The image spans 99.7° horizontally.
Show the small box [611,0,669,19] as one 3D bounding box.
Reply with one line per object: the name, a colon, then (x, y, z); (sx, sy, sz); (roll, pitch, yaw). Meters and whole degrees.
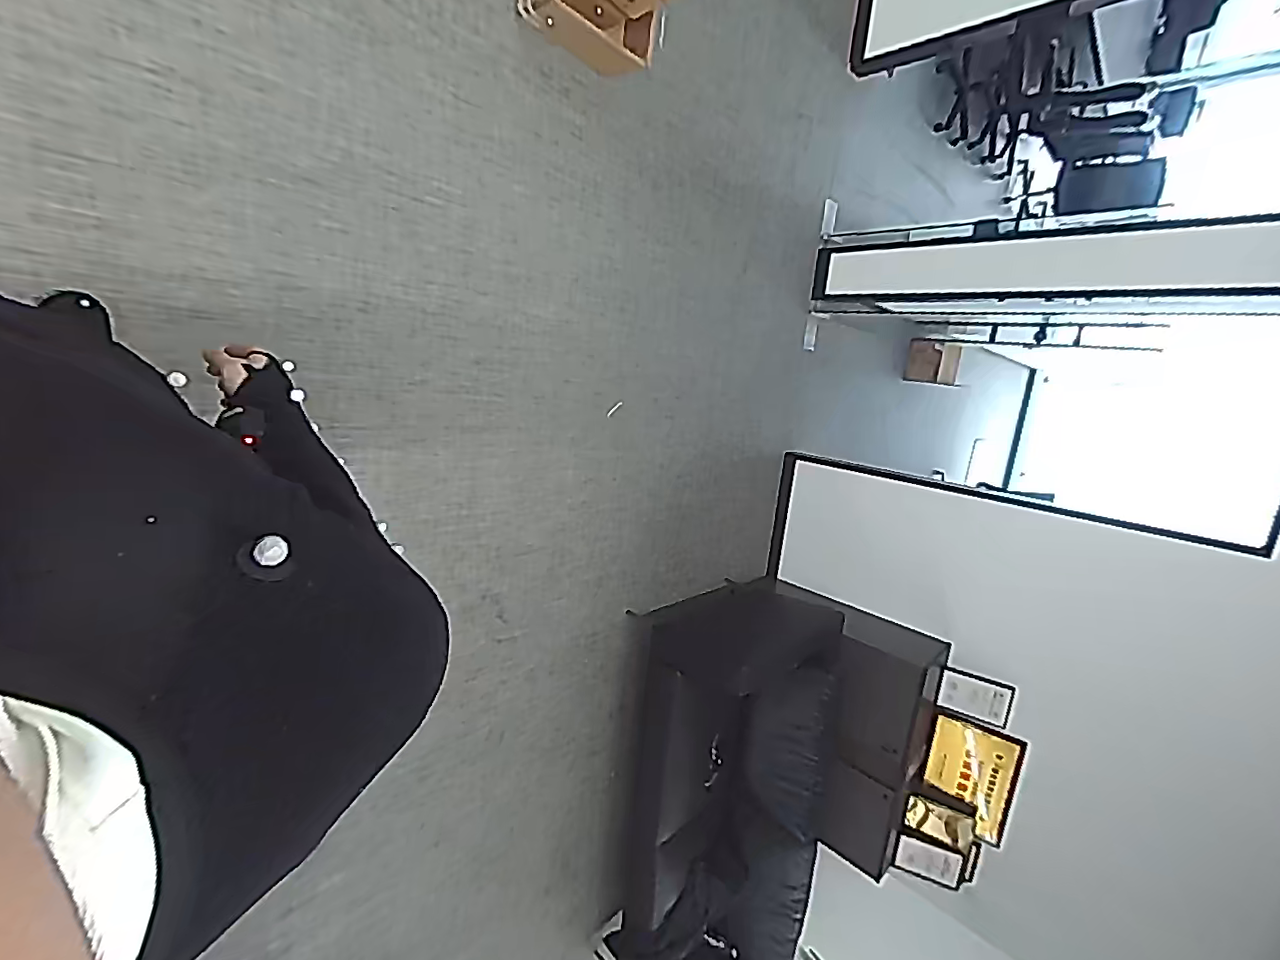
small box: (-0.013, -1.476, 1.538); (0.168, 0.176, 0.179); (1, 102, -46)
